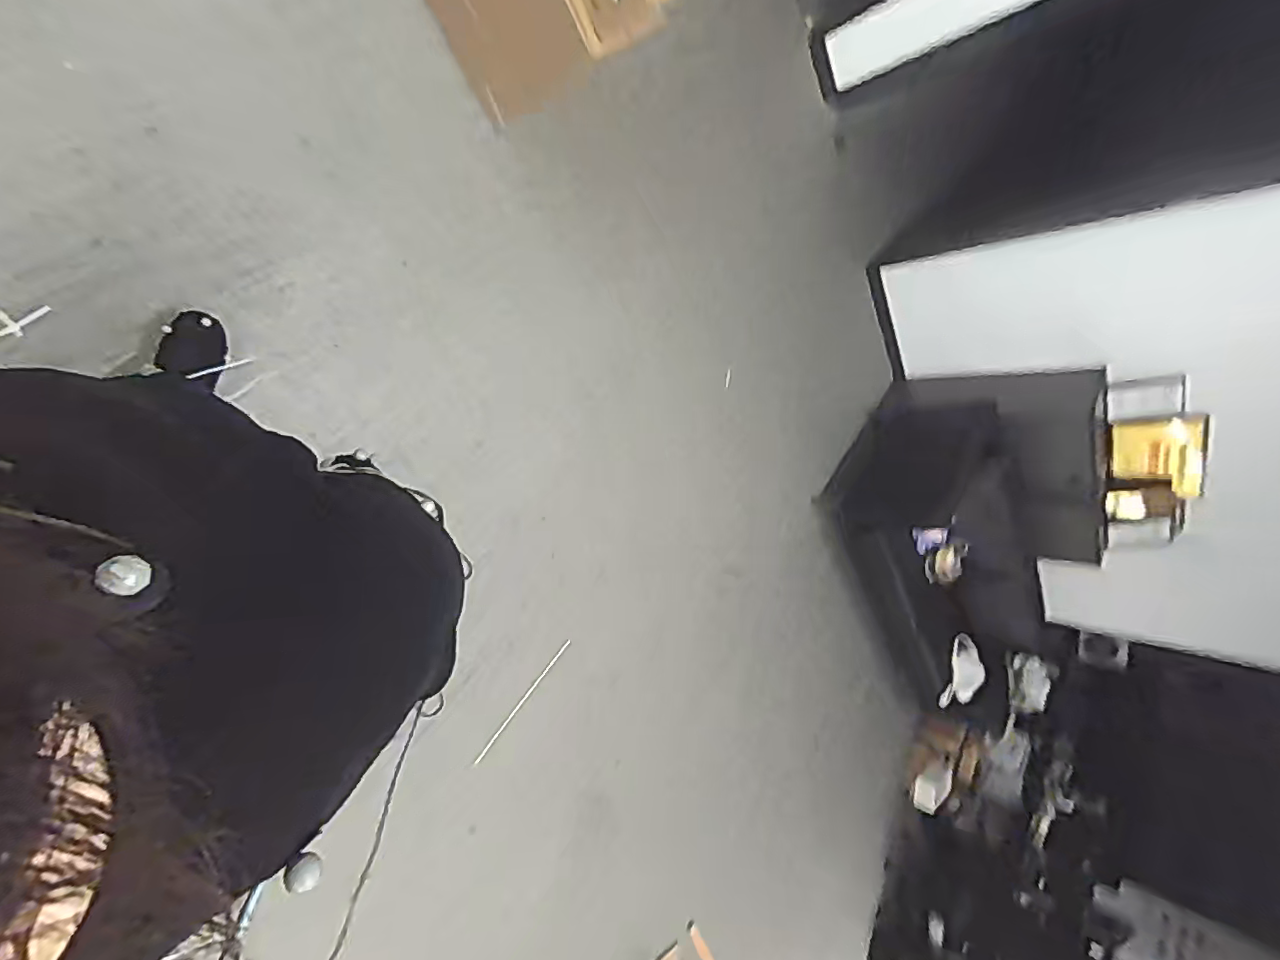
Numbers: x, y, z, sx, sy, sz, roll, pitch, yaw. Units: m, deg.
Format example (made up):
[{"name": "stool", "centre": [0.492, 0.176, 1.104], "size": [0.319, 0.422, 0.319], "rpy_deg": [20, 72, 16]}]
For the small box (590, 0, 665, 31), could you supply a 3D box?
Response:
[{"name": "small box", "centre": [-0.019, -1.151, 1.206], "size": [0.179, 0.176, 0.168], "rpy_deg": [-47, 123, -30]}]
